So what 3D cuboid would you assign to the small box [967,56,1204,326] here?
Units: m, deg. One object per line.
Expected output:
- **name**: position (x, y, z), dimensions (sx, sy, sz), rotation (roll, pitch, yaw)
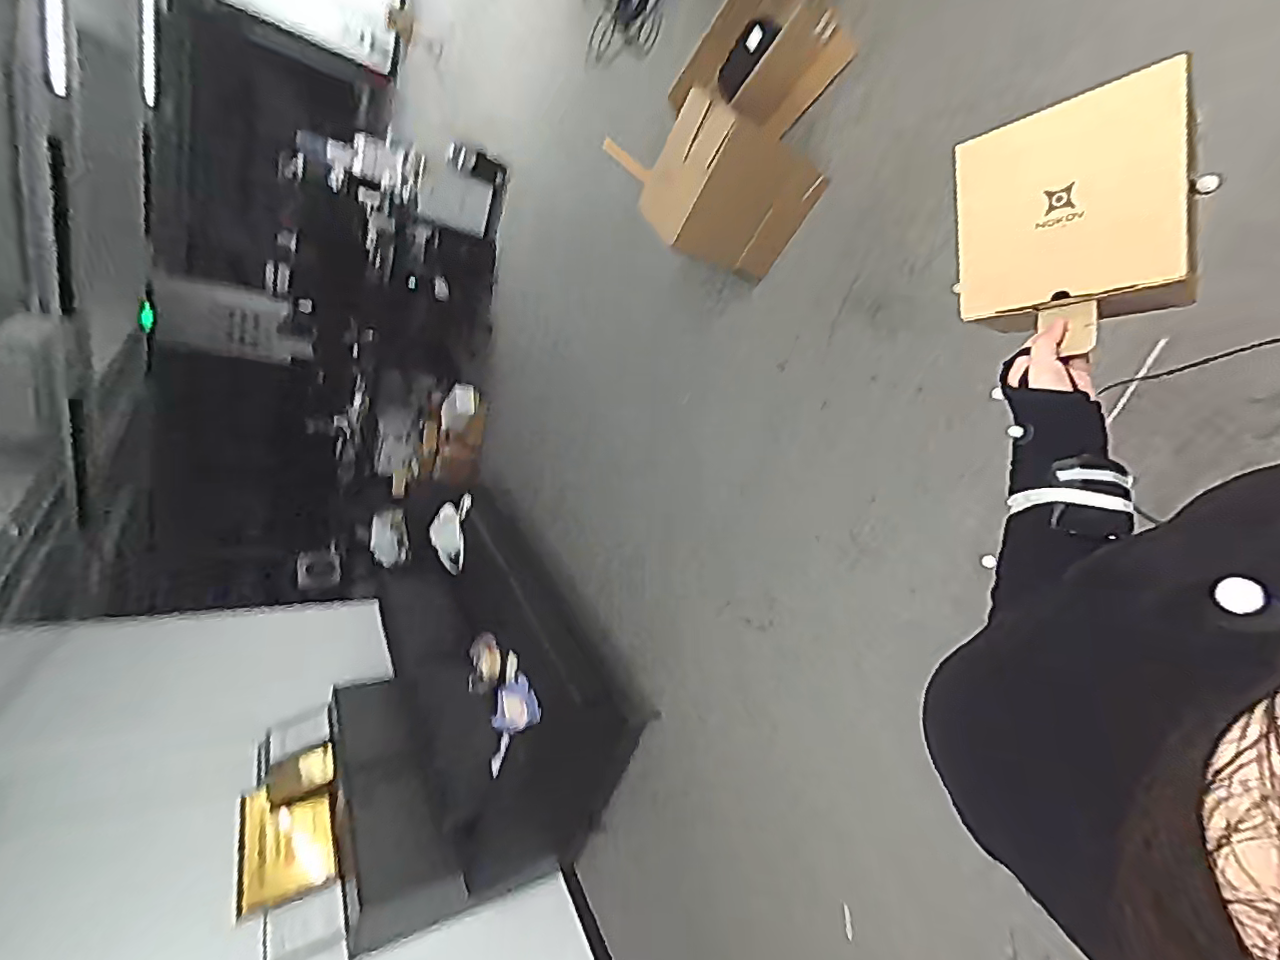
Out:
- **small box**: position (0.448, -0.264, 0.548), dimensions (0.168, 0.176, 0.179), rotation (2, 98, 46)
